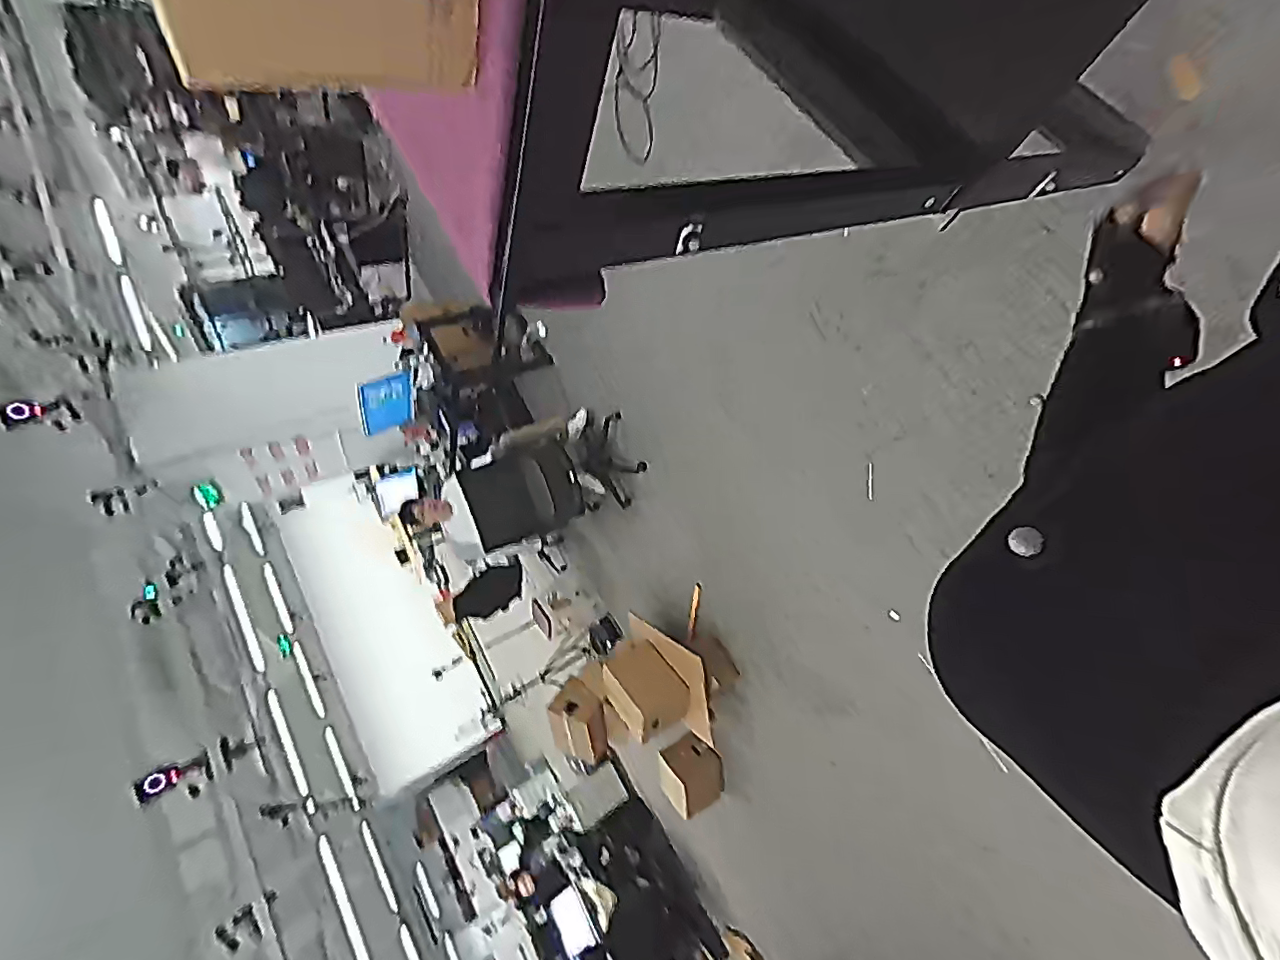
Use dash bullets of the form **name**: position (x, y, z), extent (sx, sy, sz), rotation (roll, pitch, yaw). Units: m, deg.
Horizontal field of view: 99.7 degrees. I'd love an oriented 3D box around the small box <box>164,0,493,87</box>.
- **small box**: position (-0.192, -0.351, 0.304), extent (0.179, 0.176, 0.168), rotation (58, 149, 19)
